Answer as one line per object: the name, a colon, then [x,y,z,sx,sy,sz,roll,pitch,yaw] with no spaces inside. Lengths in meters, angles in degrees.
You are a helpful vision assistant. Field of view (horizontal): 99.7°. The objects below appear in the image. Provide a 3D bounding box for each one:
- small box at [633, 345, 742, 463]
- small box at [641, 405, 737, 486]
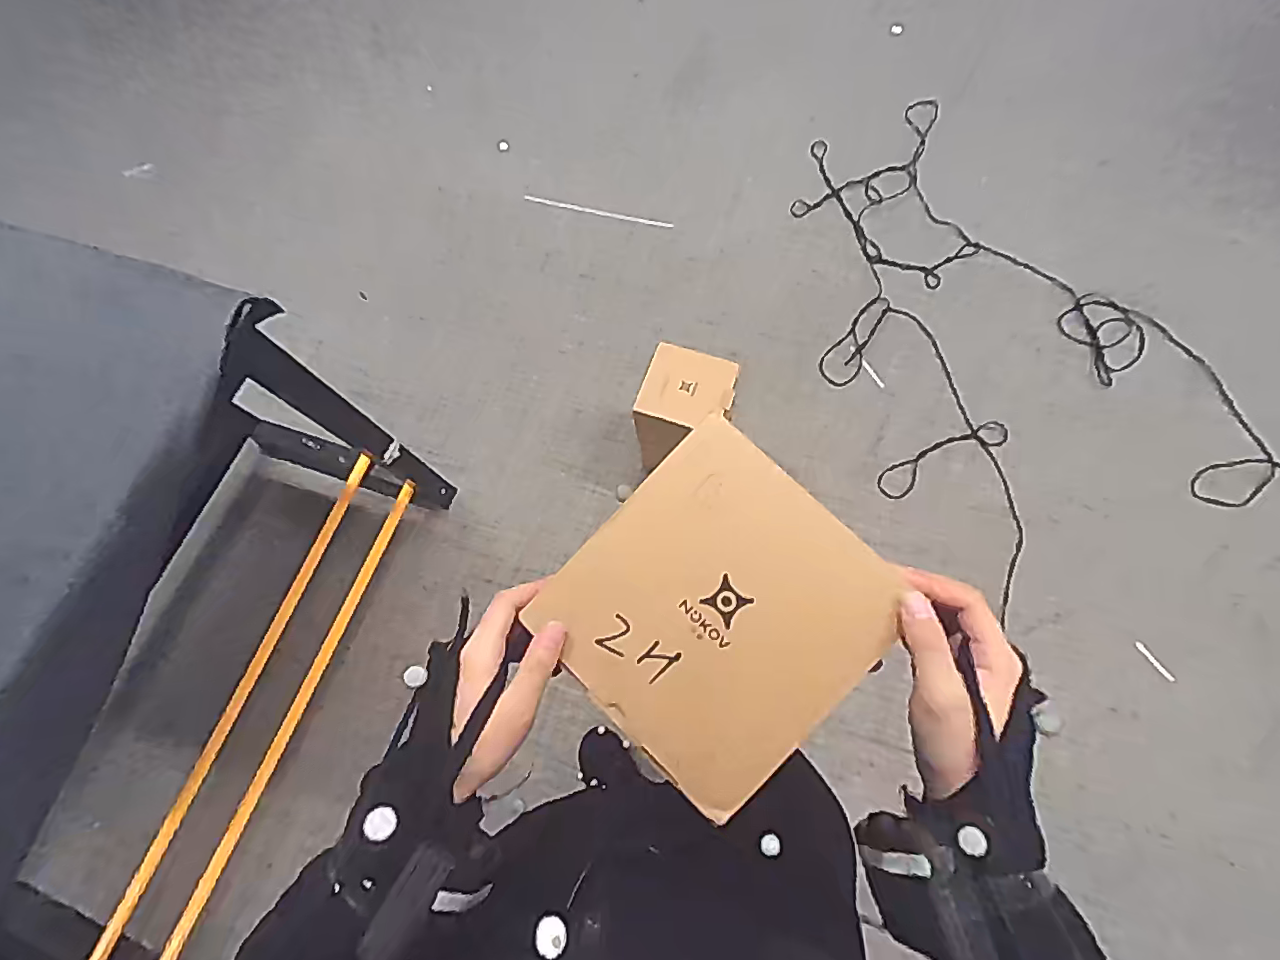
small box: [0.099,-0.151,1.132,0.179,0.176,0.168,18,72,10]
small box: [0.113,-0.100,1.287,0.179,0.176,0.168,20,73,9]
